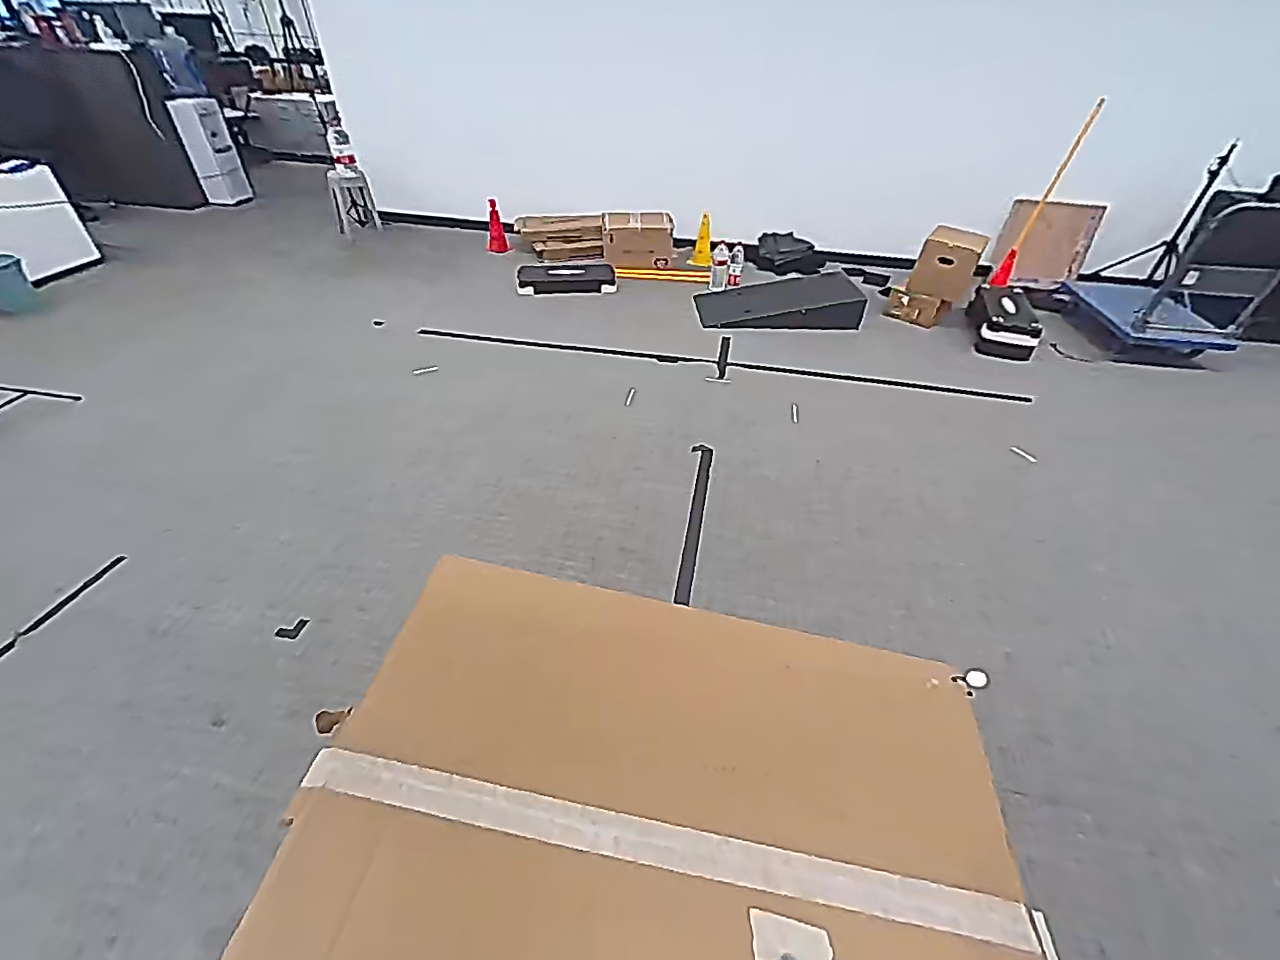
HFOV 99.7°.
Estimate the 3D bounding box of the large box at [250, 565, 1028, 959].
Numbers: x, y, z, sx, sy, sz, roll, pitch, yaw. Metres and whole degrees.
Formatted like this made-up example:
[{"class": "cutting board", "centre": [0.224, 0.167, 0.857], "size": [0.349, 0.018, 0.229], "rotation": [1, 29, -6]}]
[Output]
[{"class": "large box", "centre": [-0.001, 0.313, 0.418], "size": [0.408, 0.320, 0.320], "rotation": [13, 46, 1]}]
